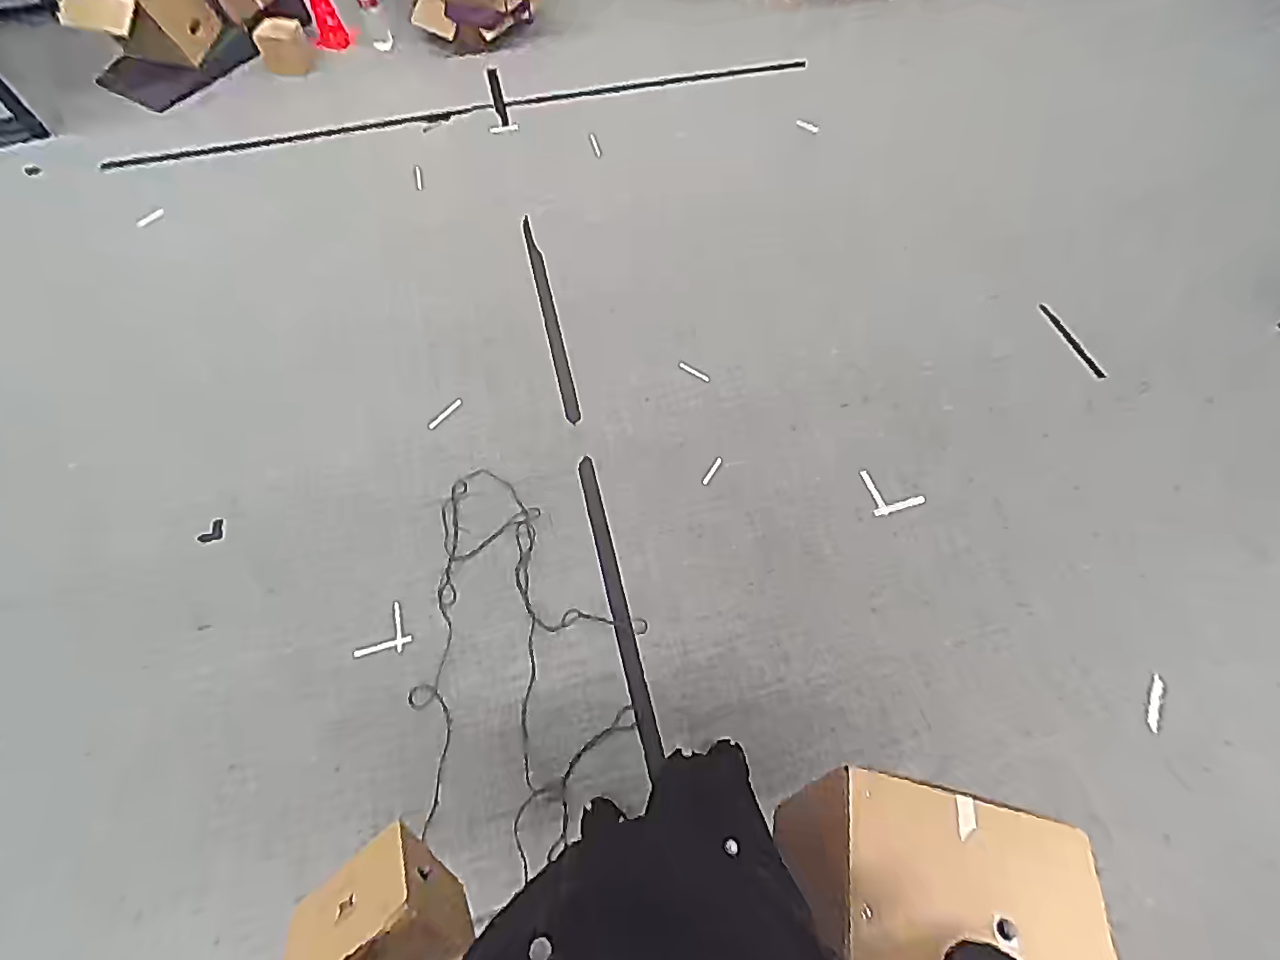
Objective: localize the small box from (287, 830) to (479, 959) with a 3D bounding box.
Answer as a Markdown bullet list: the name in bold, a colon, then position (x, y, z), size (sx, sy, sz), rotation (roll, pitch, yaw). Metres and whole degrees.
- **small box**: position (-0.334, 0.628, 0.715), size (0.168, 0.179, 0.176), rotation (-37, 107, -22)
